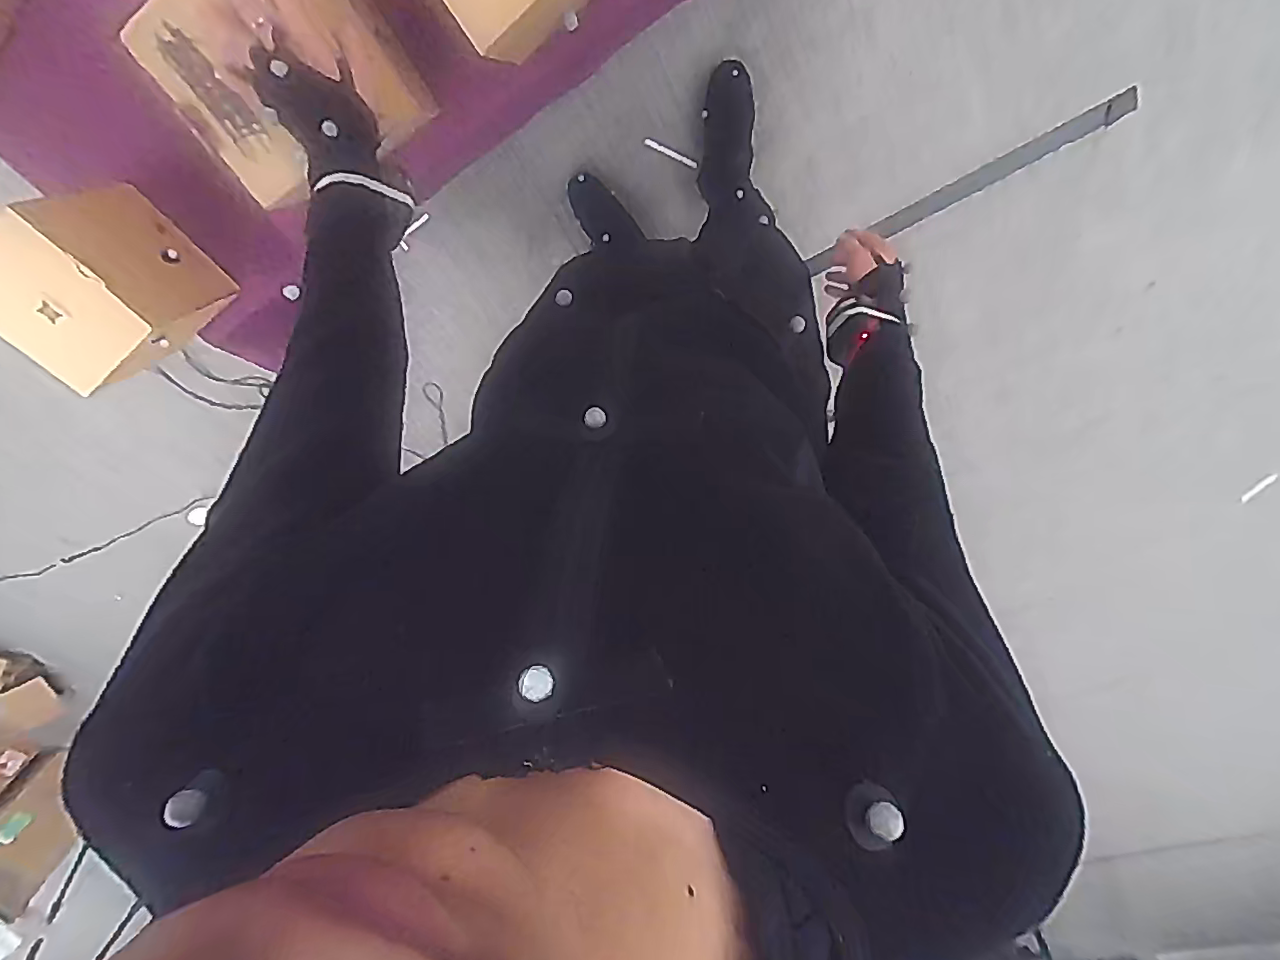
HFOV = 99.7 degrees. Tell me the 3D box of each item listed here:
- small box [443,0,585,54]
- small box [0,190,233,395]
[{"bbox_3d":[-0.124,-0.526,0.485,0.168,0.176,0.179,-28,120,21],"label":"small box"},{"bbox_3d":[-0.695,-0.249,0.711,0.179,0.176,0.168,-29,119,20],"label":"small box"}]
